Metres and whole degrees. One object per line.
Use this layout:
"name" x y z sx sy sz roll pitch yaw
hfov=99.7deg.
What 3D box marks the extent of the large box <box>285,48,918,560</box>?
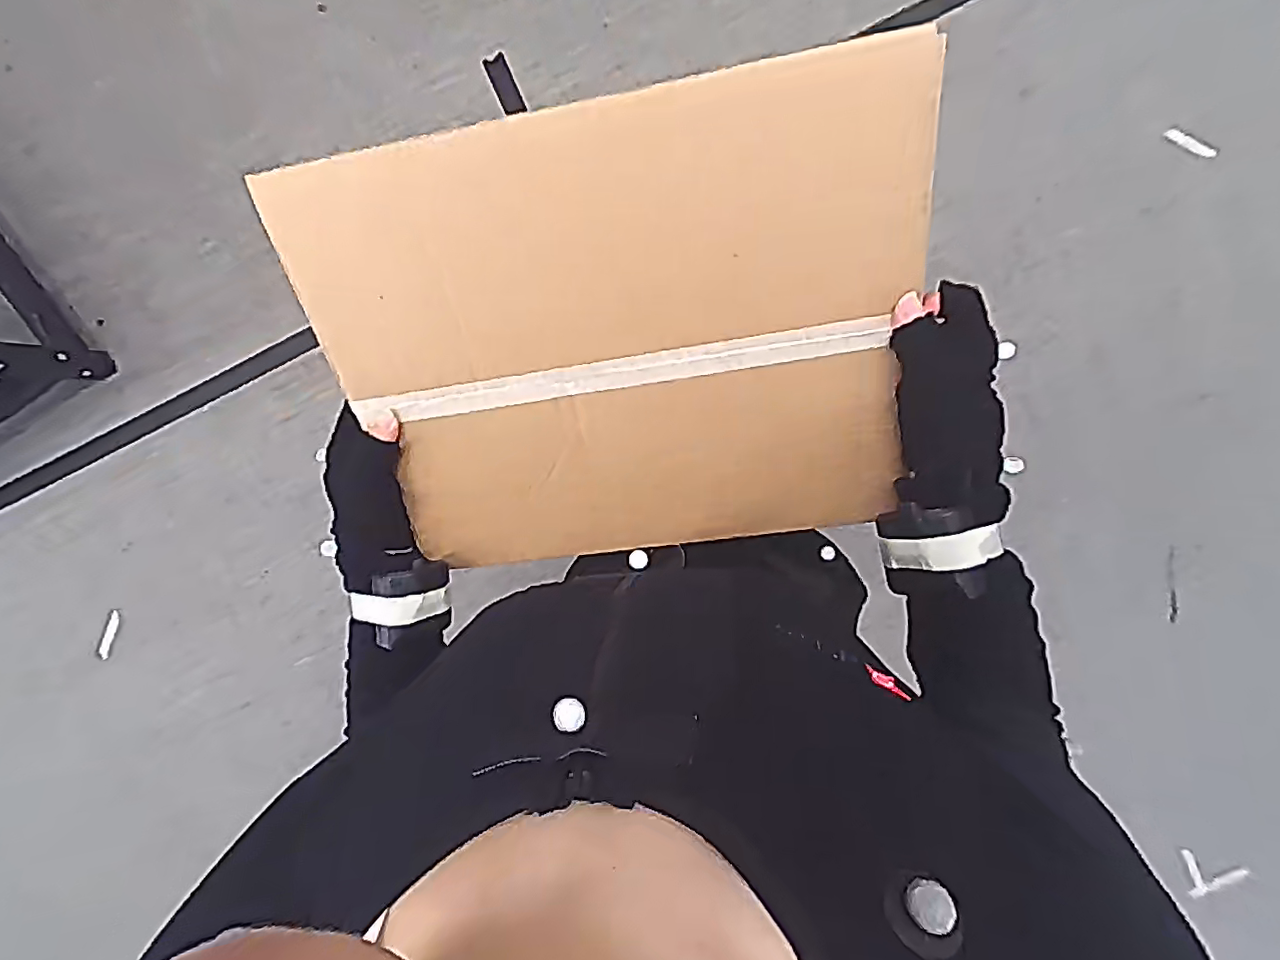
"large box" -0.003 -0.159 0.524 0.408 0.320 0.320 -7 120 8
